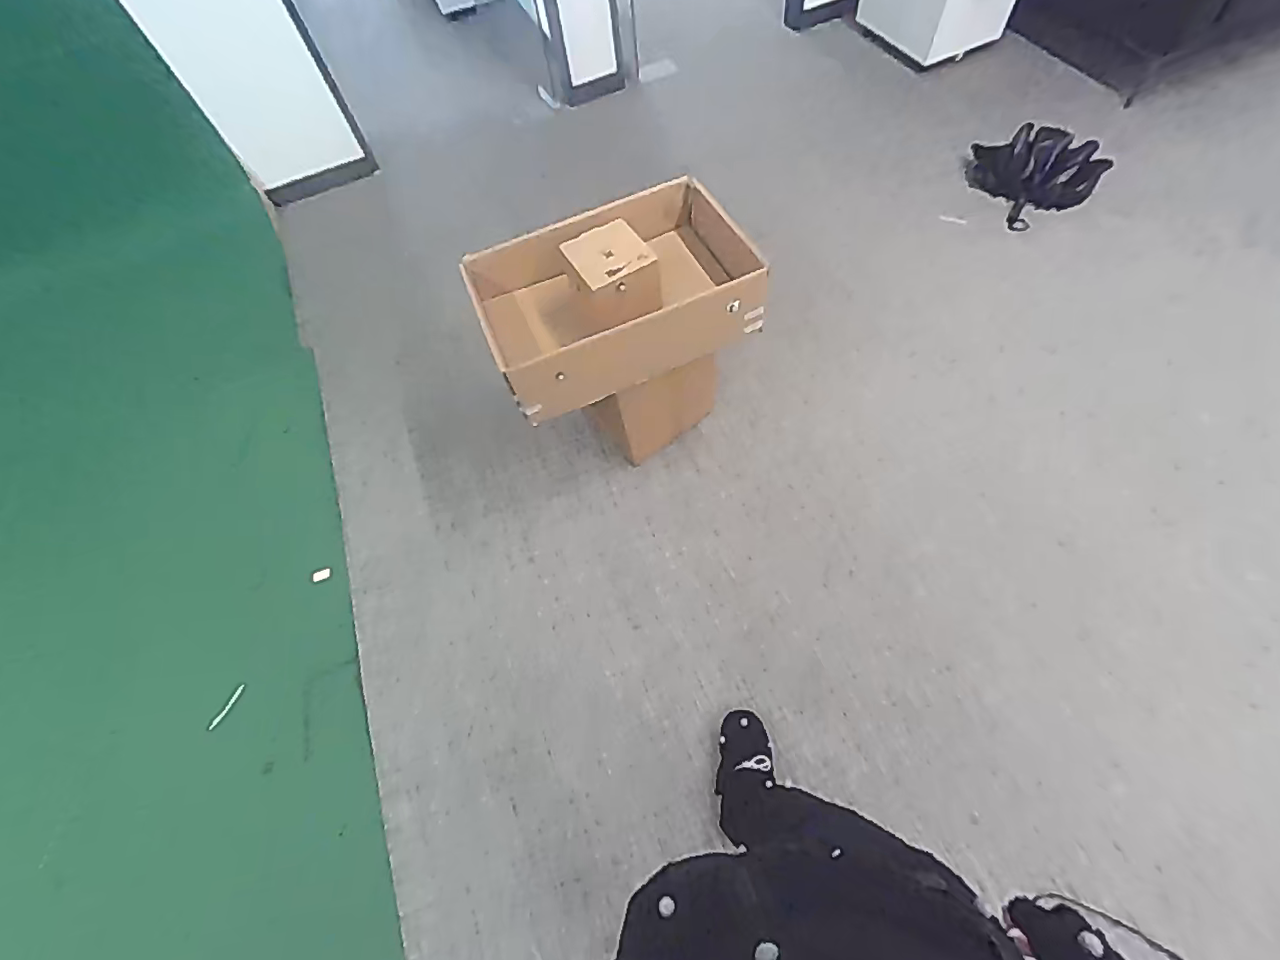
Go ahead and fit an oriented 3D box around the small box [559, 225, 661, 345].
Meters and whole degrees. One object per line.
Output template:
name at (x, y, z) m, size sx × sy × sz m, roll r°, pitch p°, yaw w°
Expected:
small box at (-0.065, -0.453, 1.268) m, size 0.168 × 0.176 × 0.179 m, roll -30°, pitch 61°, yaw -8°
